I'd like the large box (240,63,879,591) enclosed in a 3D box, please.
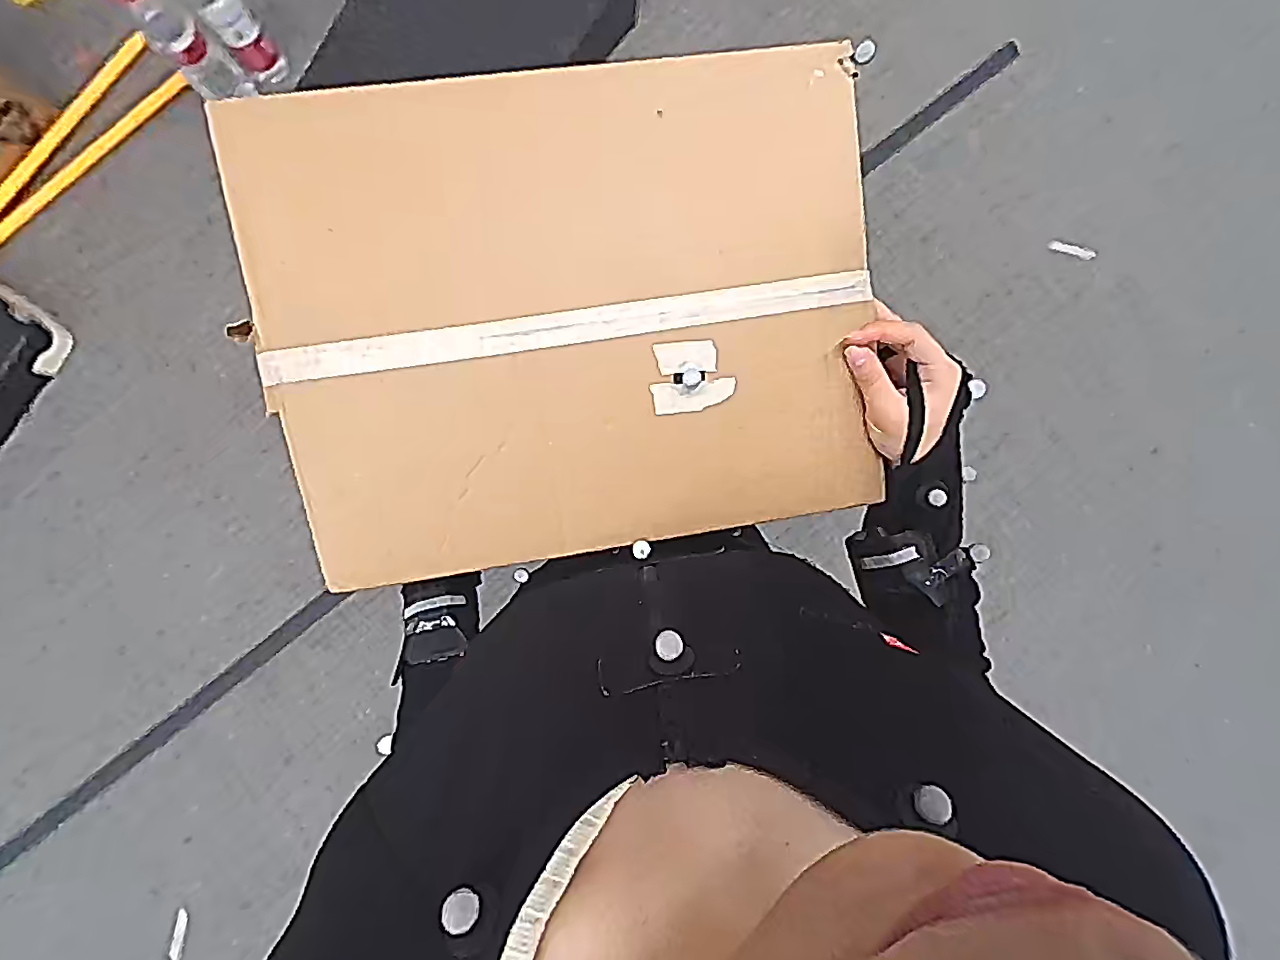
[{"bbox_3d":[-0.051,-0.123,0.520,0.408,0.320,0.320,-9,100,-6],"label":"large box"}]
